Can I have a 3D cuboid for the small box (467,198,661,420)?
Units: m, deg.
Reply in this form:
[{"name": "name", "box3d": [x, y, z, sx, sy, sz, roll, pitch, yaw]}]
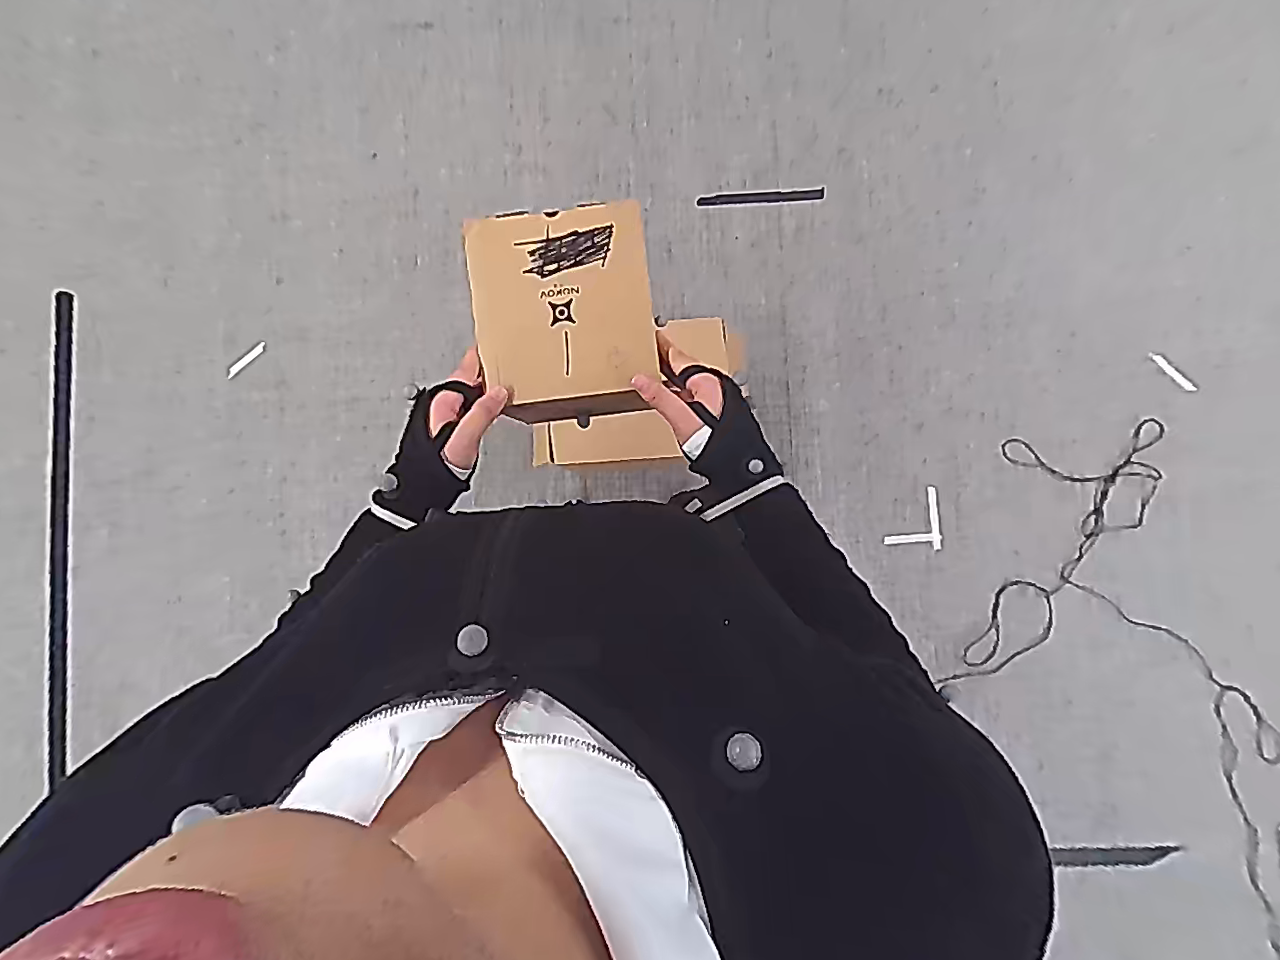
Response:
[{"name": "small box", "box3d": [-0.070, -0.166, 0.577, 0.168, 0.176, 0.179, -6, 91, 1]}]
